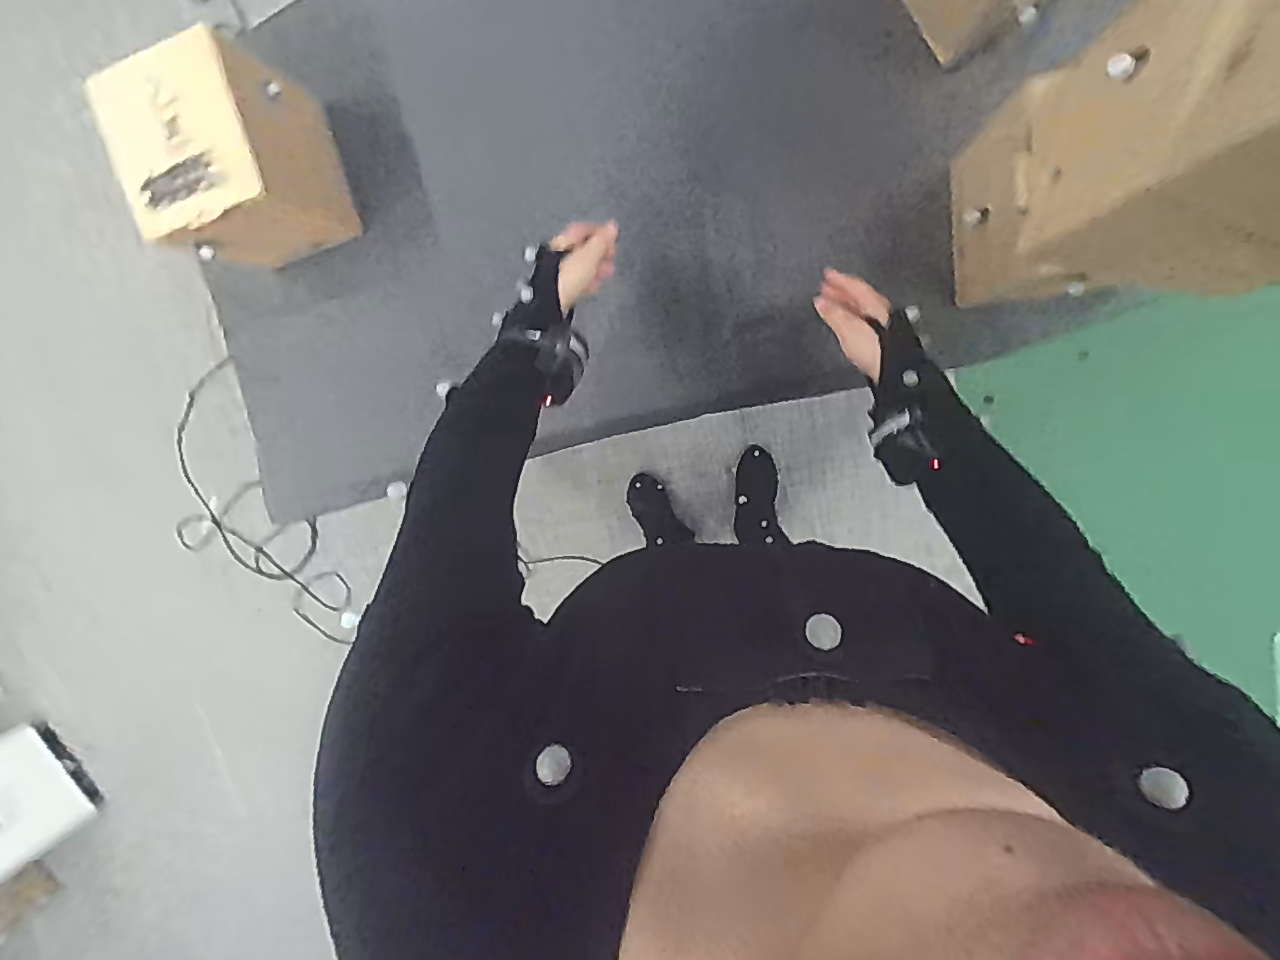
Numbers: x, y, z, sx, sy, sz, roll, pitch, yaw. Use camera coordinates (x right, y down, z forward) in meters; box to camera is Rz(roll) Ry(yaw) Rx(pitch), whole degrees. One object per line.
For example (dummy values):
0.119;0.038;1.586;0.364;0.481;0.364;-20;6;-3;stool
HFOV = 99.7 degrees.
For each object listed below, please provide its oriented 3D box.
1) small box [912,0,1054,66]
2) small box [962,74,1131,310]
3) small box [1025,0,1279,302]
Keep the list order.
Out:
0.352;-0.549;0.501;0.168;0.176;0.179;-33;96;16;small box
0.440;-0.274;0.535;0.179;0.176;0.168;-5;97;11;small box
0.421;-0.236;0.377;0.179;0.176;0.168;16;100;6;small box
